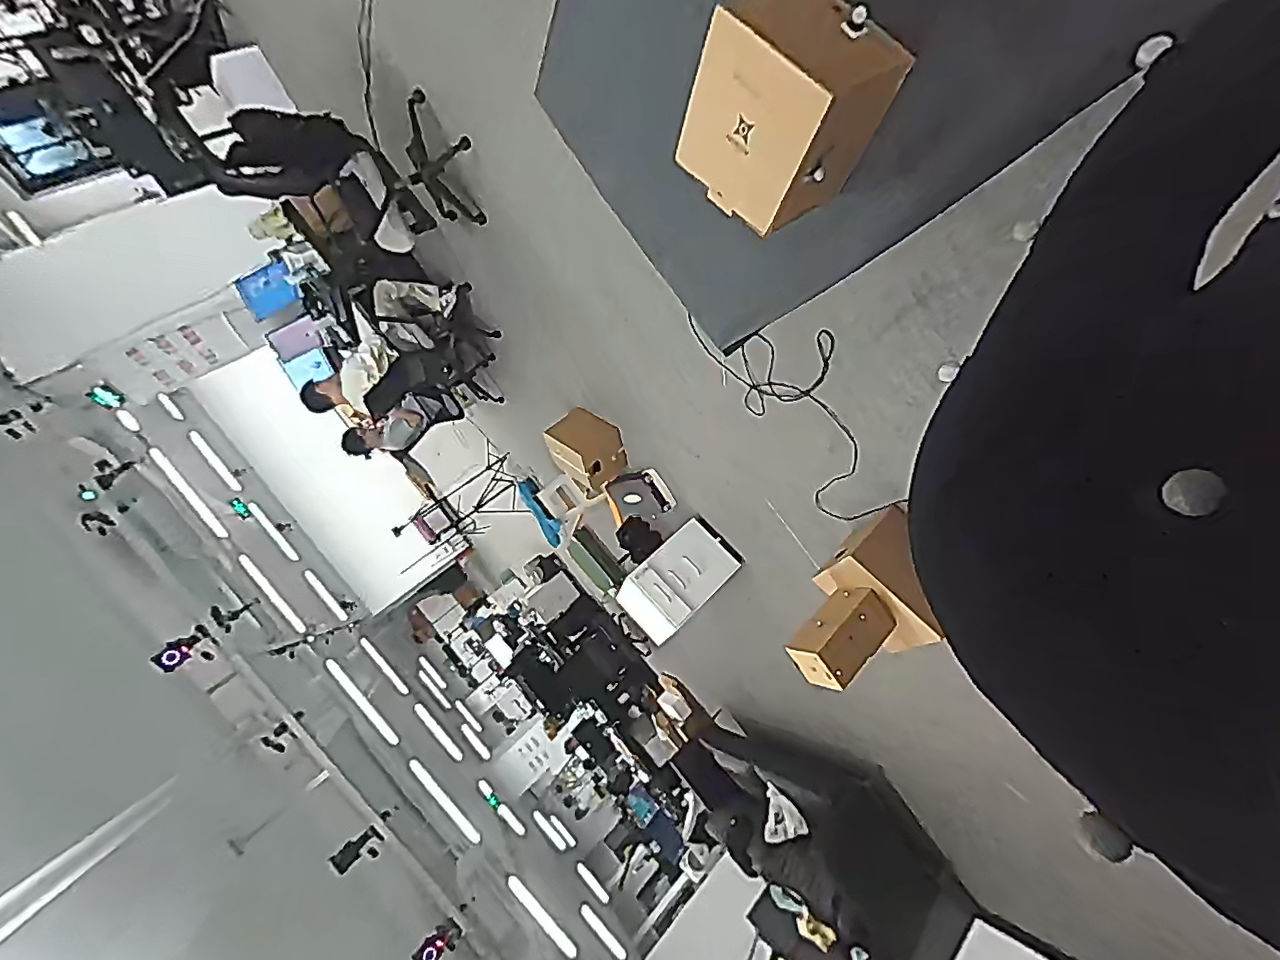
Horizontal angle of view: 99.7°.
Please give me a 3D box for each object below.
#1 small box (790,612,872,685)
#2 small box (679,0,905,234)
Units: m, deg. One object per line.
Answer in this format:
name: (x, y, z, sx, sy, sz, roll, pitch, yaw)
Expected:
small box: (0.675, 0.586, 1.906, 0.168, 0.176, 0.179, 53, 158, -6)
small box: (0.178, -0.447, 0.656, 0.168, 0.176, 0.179, 45, 154, 11)
